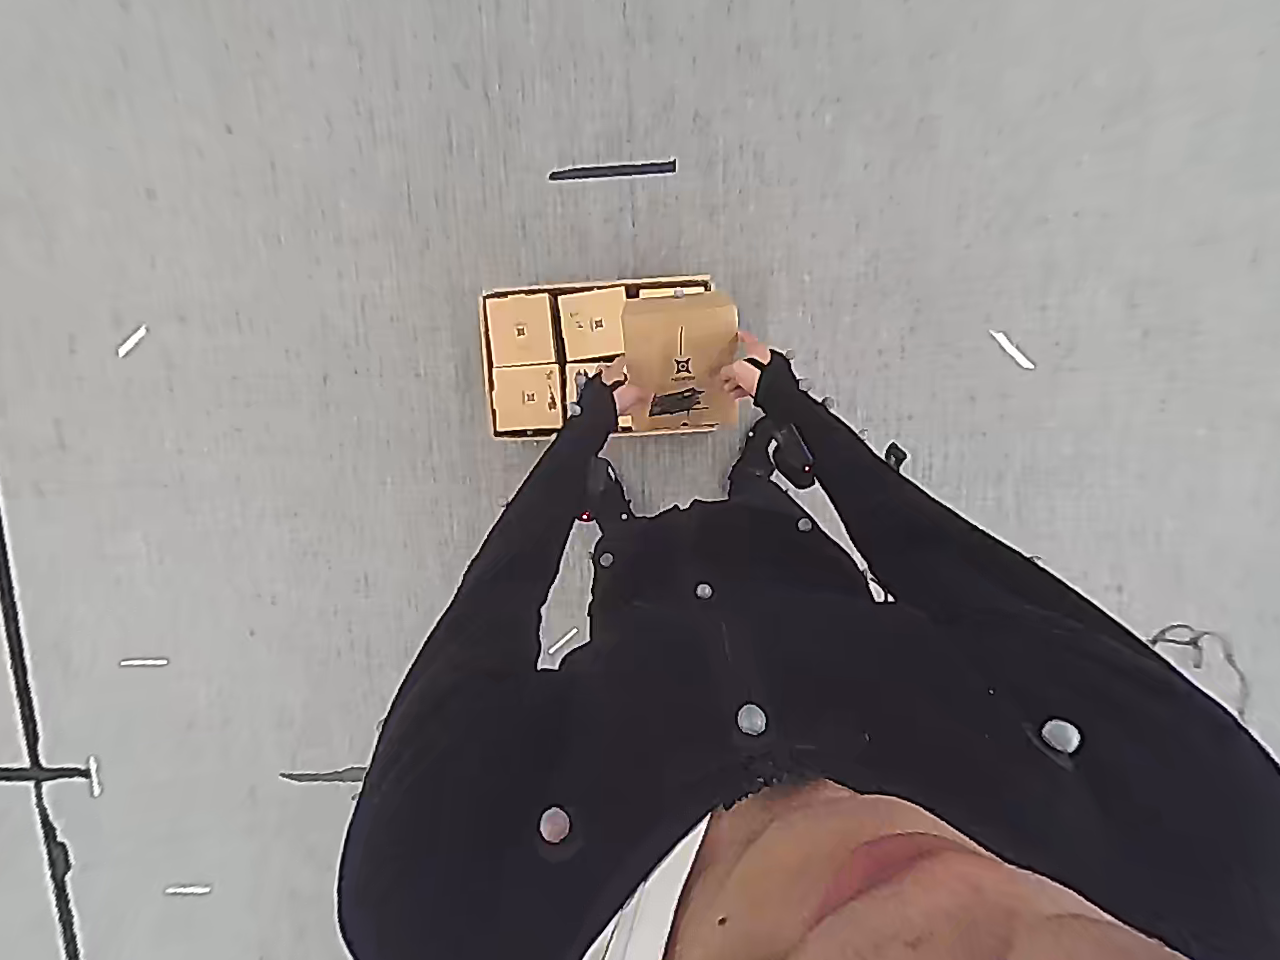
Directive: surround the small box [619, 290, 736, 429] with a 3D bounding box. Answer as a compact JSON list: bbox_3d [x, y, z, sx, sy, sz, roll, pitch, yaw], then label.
[{"bbox_3d":[0.060,-0.196,0.861,0.168,0.176,0.179,-4,116,2],"label":"small box"}]
